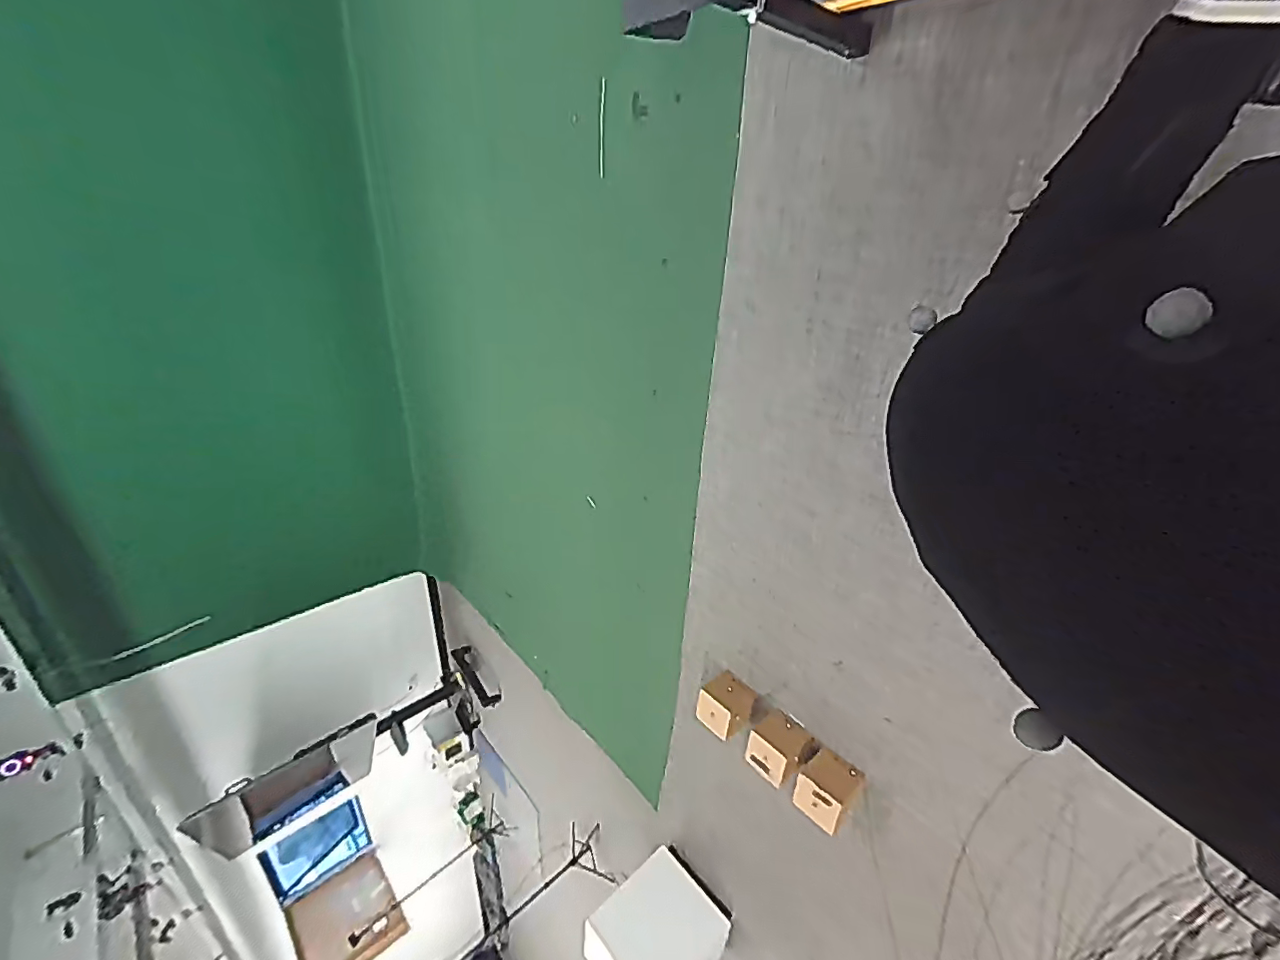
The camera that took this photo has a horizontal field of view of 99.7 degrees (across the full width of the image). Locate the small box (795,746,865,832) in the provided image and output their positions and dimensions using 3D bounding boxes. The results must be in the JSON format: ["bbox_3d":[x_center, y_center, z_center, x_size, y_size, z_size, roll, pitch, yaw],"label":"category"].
[{"bbox_3d":[0.692,1.110,1.958,0.168,0.176,0.179,28,126,40],"label":"small box"}]

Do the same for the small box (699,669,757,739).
[{"bbox_3d":[0.373,0.932,2.271,0.168,0.176,0.179,30,127,41],"label":"small box"}]
